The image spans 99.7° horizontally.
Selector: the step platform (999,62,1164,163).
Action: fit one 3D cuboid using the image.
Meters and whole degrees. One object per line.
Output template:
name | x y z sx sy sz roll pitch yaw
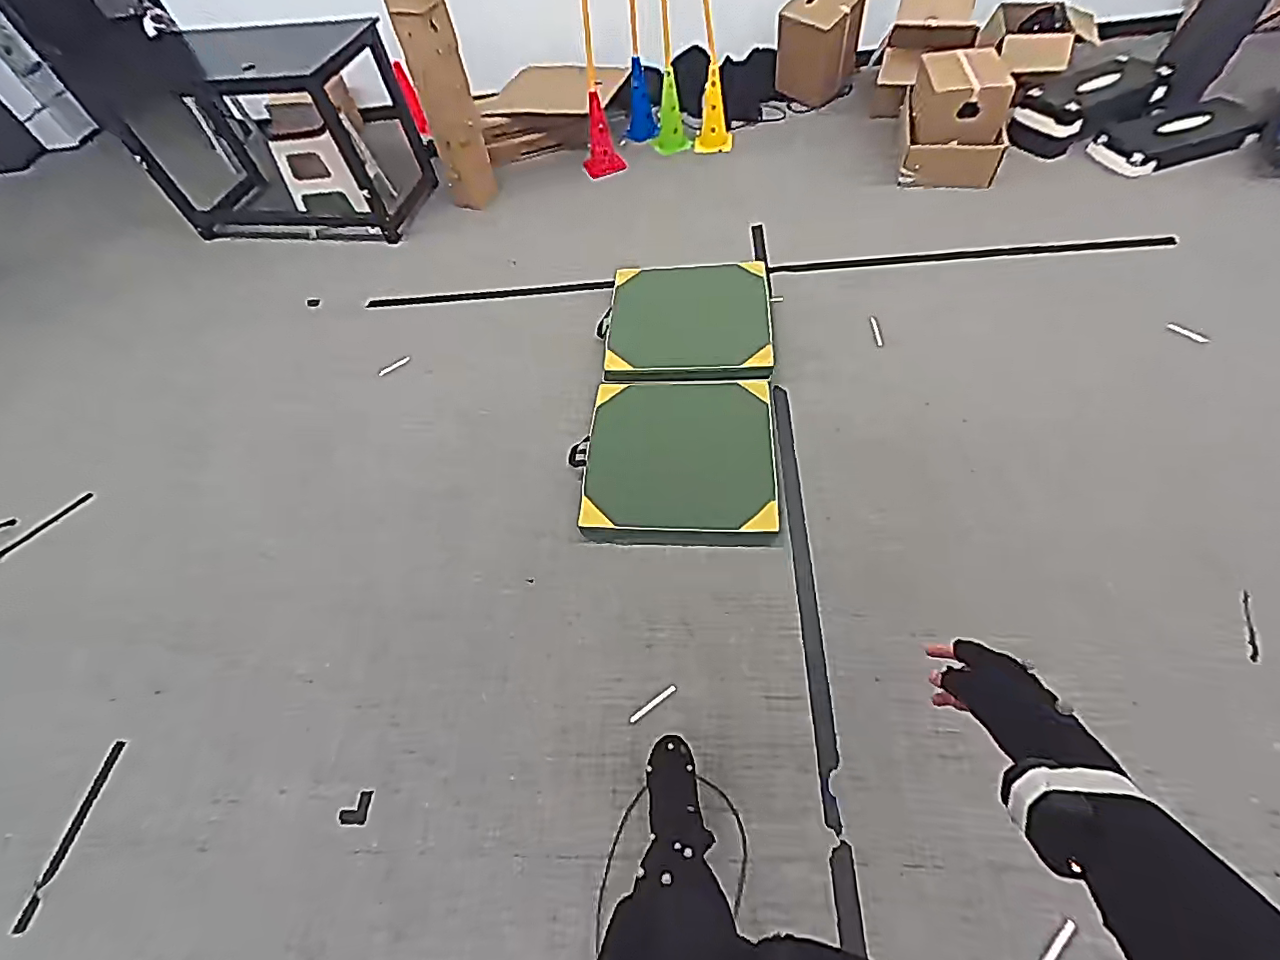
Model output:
step platform | 2.099 -1.760 2.577 0.684 0.204 0.286 -26 57 -10
